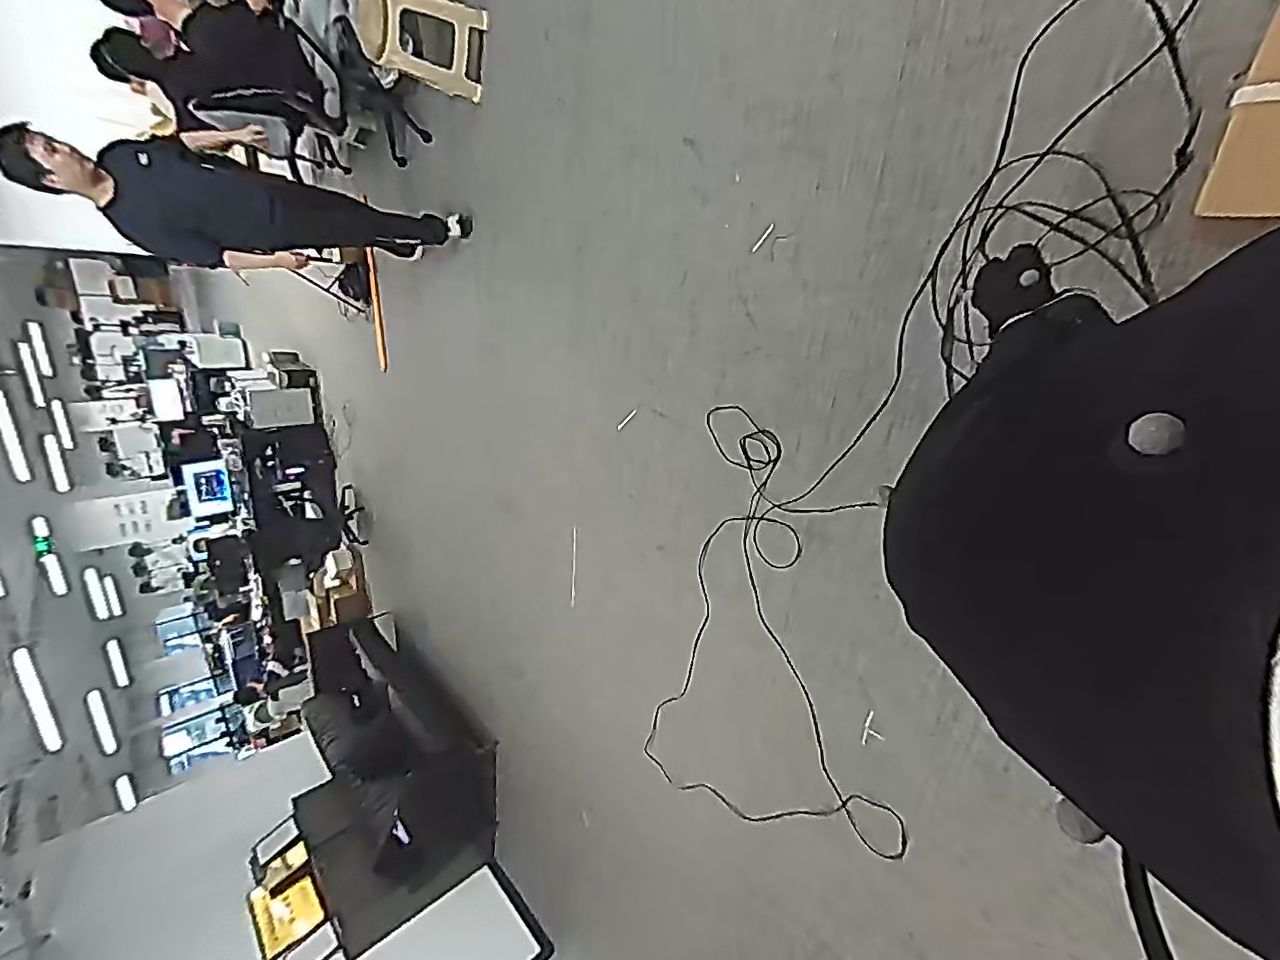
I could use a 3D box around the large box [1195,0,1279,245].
[{"bbox_3d":[1.092,-0.508,0.739,0.408,0.320,0.320,24,117,40],"label":"large box"}]
